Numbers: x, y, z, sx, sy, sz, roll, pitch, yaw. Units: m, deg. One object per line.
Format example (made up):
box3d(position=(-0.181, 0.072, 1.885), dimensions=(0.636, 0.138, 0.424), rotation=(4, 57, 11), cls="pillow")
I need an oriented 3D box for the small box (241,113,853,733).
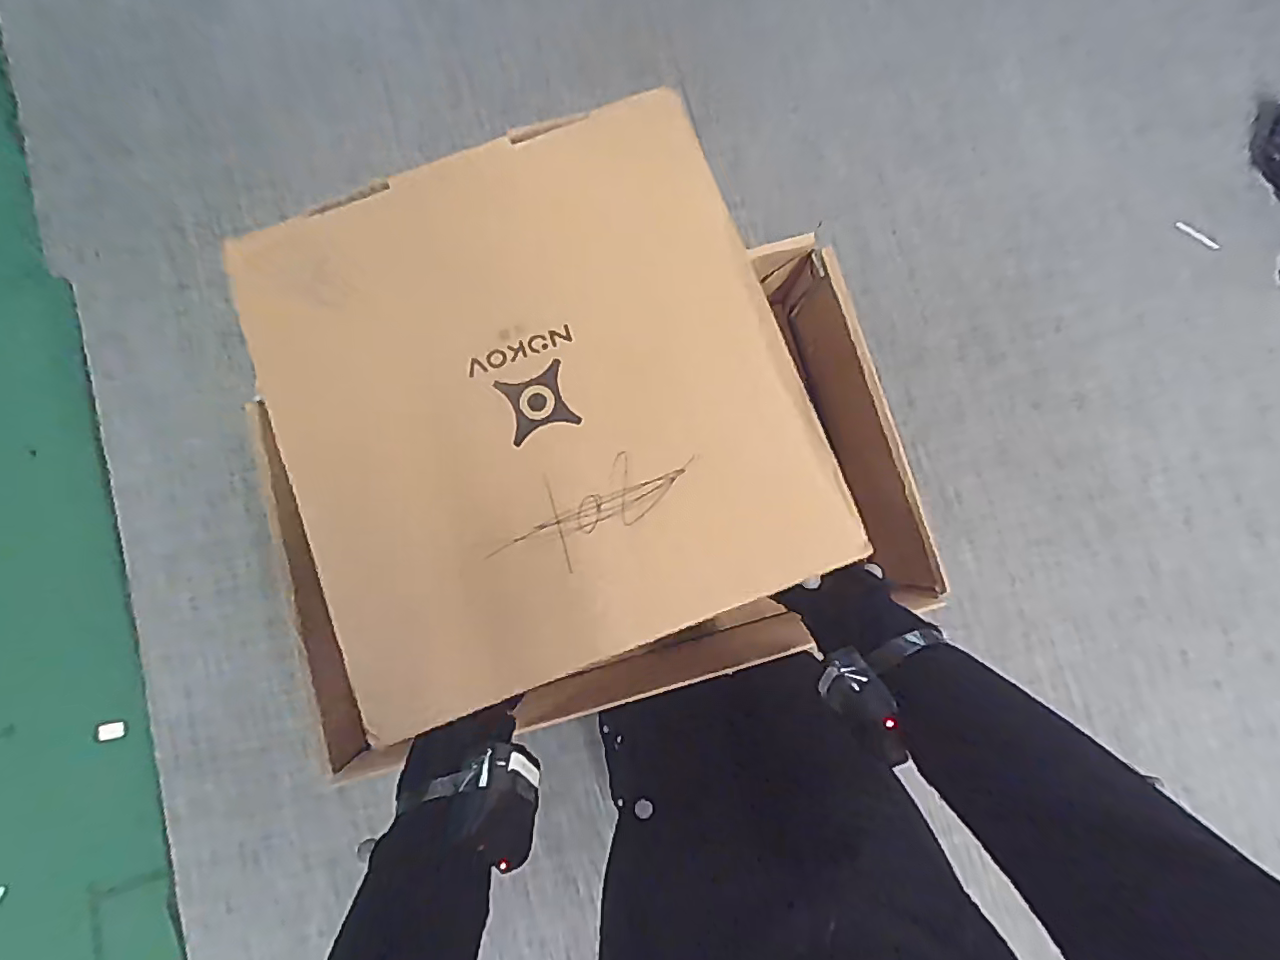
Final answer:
box3d(position=(-0.034, -0.017, 0.263), dimensions=(0.168, 0.176, 0.179), rotation=(-21, 84, -1), cls="small box")
